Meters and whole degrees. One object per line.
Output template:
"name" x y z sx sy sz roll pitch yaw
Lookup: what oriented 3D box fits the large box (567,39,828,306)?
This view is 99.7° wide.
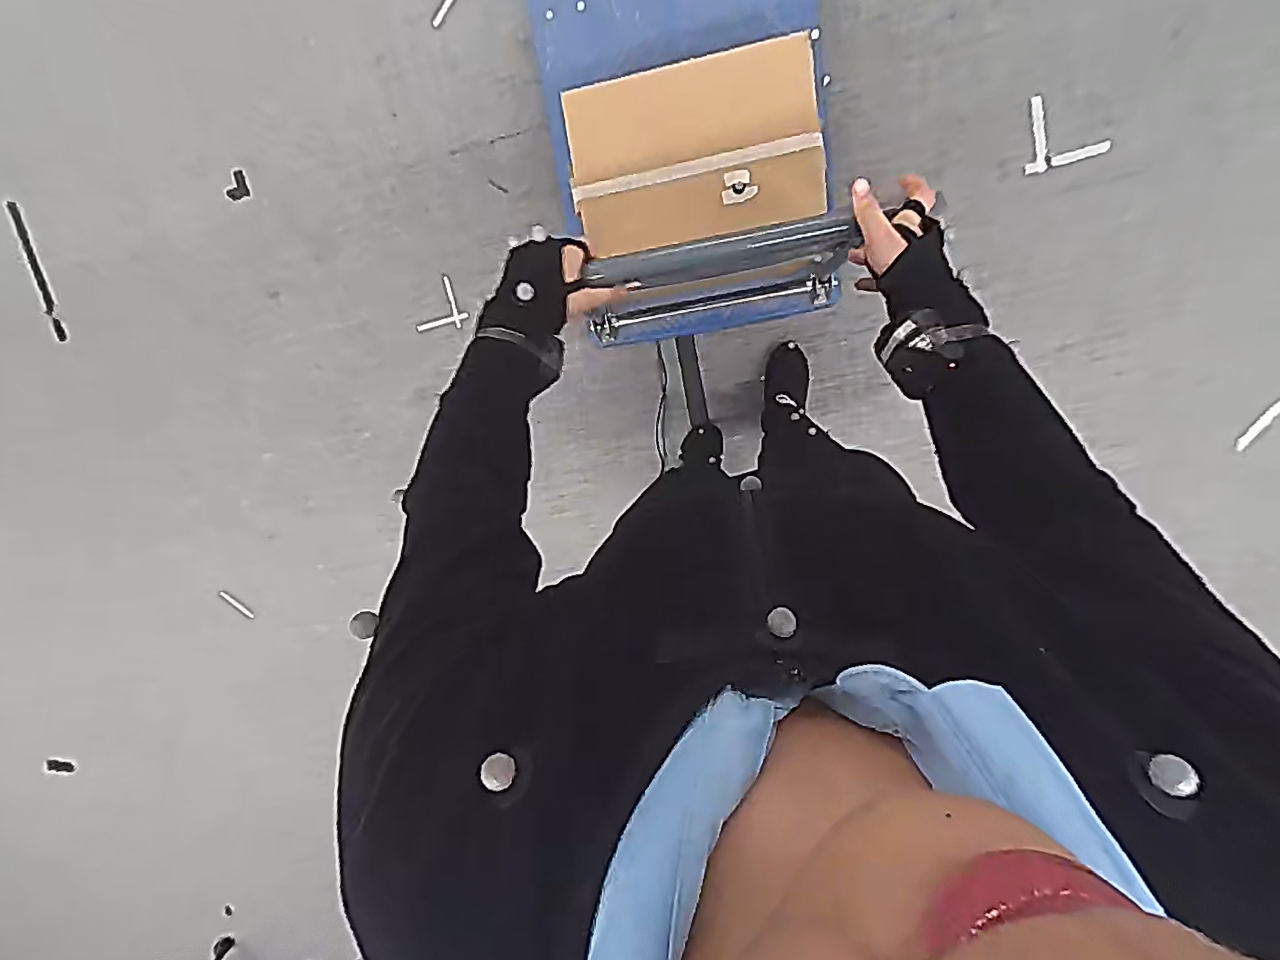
"large box" 0.111 -0.545 1.046 0.408 0.320 0.320 -8 102 8
